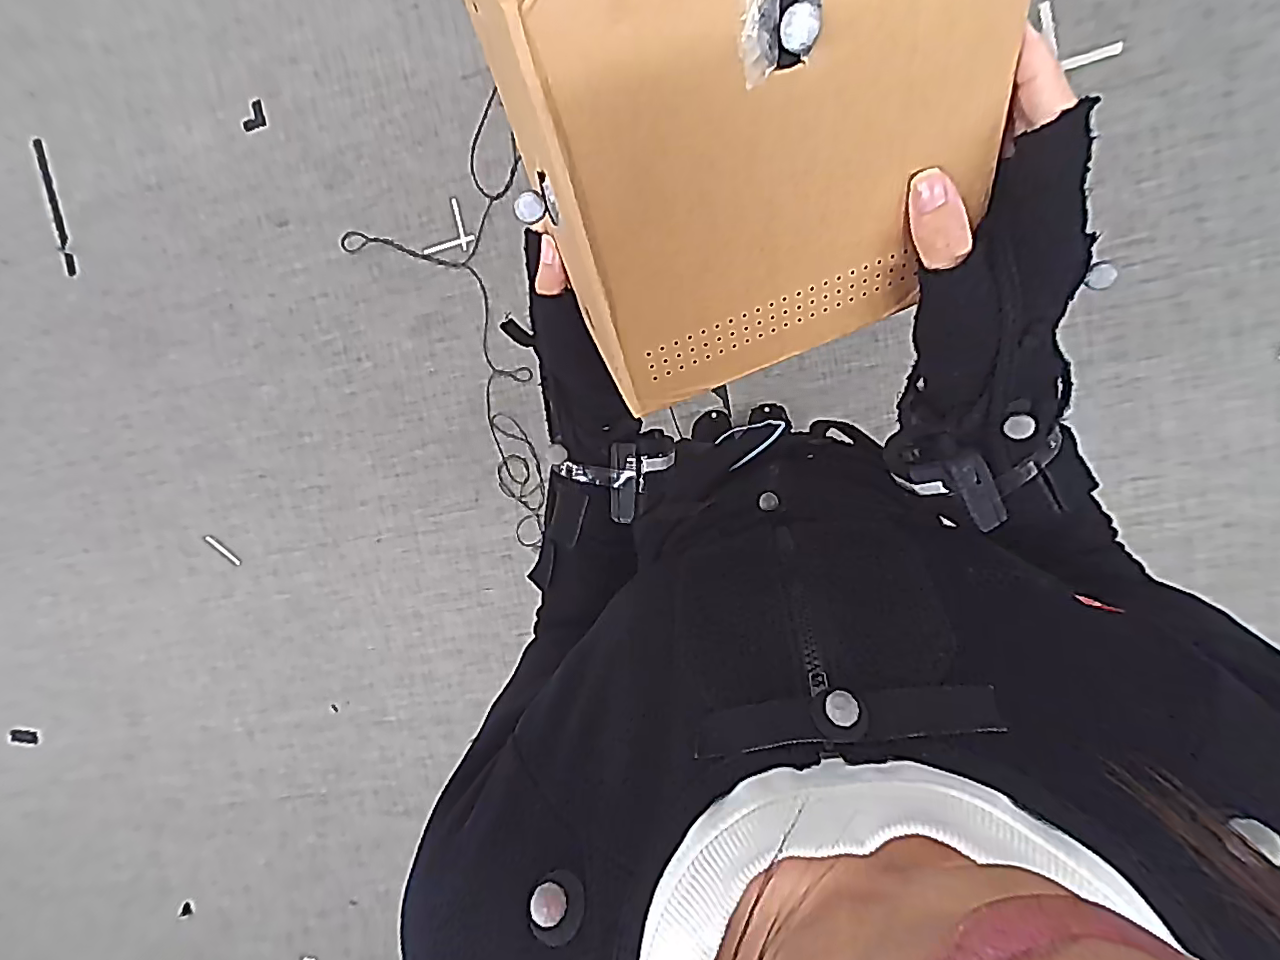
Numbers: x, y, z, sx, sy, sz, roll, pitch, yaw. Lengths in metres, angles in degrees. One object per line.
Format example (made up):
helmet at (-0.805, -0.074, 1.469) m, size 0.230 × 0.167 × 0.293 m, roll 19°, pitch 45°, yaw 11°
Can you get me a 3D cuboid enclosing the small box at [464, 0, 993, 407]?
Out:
small box at (0.037, -0.163, 0.260) m, size 0.179 × 0.168 × 0.176 m, roll -22°, pitch 136°, yaw -2°
